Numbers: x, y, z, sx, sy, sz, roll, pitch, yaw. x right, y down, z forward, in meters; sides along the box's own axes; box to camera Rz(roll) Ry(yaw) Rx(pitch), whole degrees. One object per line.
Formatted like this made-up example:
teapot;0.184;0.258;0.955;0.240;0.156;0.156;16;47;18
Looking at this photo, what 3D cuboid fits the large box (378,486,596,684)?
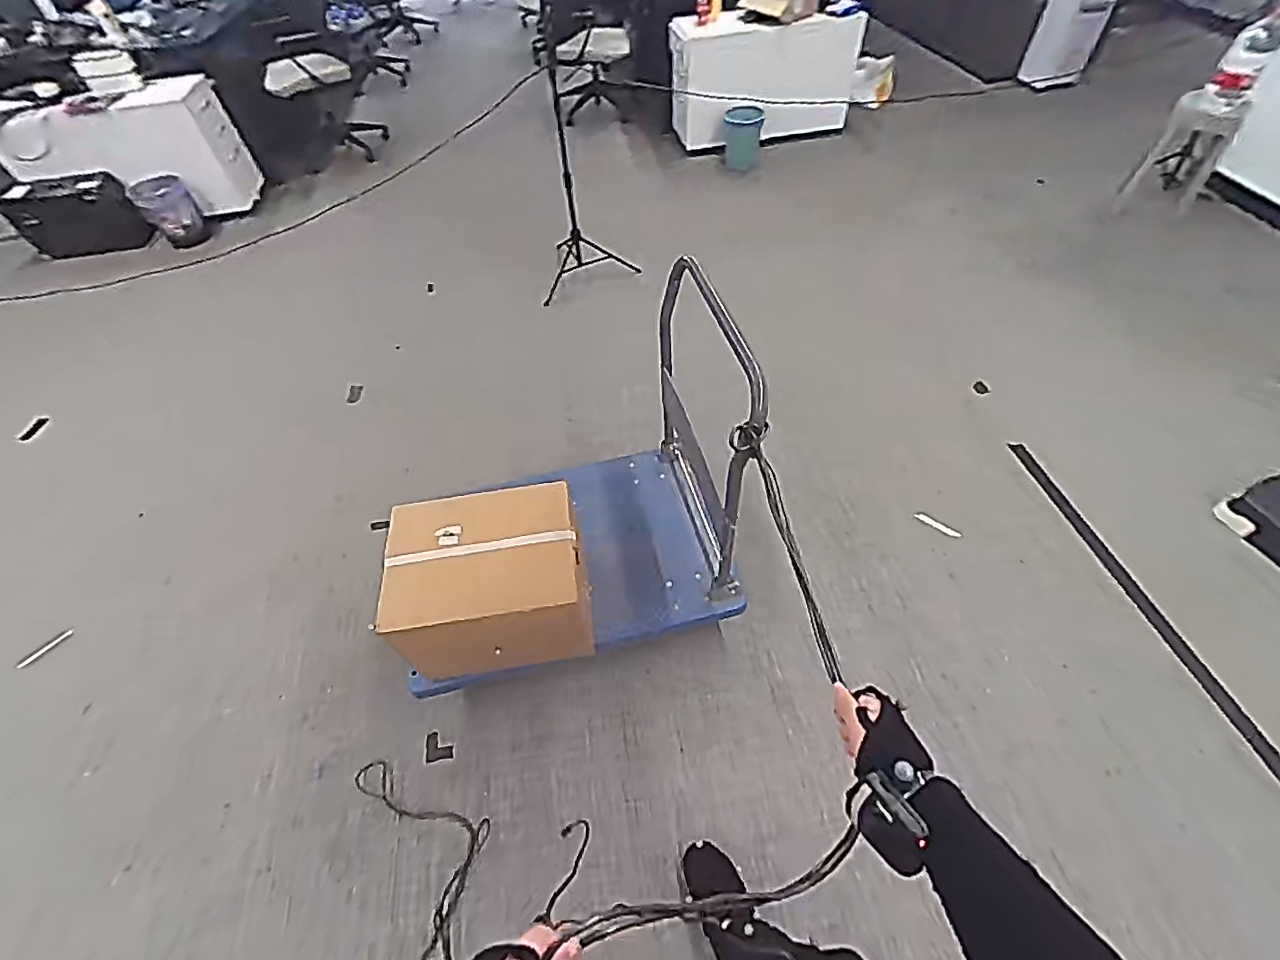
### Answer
large box;-0.333;0.252;1.273;0.408;0.320;0.320;-9;52;-3
